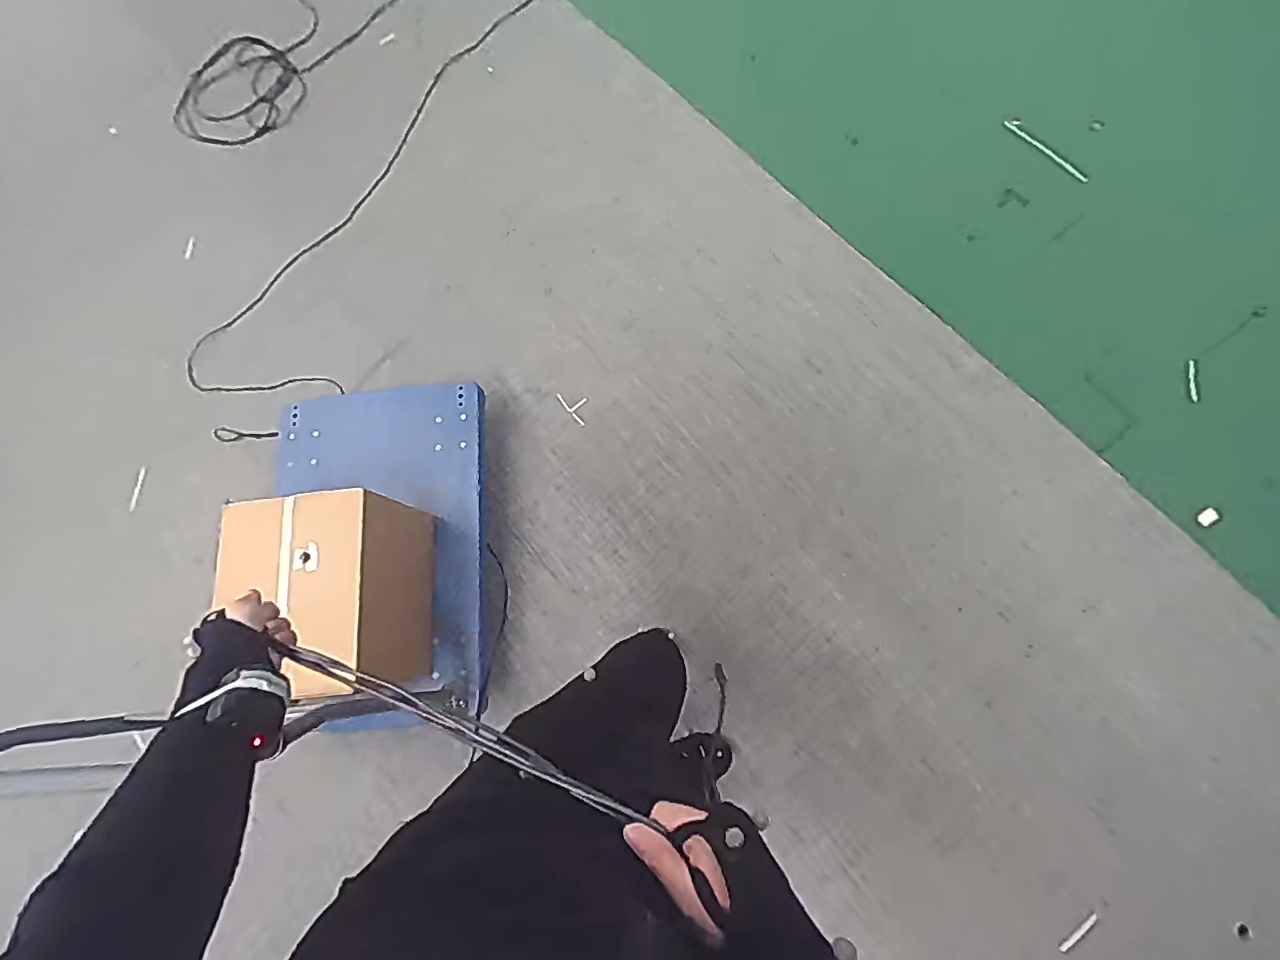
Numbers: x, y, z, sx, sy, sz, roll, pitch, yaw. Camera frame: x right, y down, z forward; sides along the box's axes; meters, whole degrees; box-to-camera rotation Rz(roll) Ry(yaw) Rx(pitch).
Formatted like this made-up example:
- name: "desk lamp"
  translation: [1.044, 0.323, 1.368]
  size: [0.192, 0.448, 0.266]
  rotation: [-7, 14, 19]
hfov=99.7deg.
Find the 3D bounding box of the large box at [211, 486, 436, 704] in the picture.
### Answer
- name: "large box"
  translation: [-0.676, 0.260, 1.215]
  size: [0.320, 0.320, 0.408]
  rotation: [-7, 74, 4]
